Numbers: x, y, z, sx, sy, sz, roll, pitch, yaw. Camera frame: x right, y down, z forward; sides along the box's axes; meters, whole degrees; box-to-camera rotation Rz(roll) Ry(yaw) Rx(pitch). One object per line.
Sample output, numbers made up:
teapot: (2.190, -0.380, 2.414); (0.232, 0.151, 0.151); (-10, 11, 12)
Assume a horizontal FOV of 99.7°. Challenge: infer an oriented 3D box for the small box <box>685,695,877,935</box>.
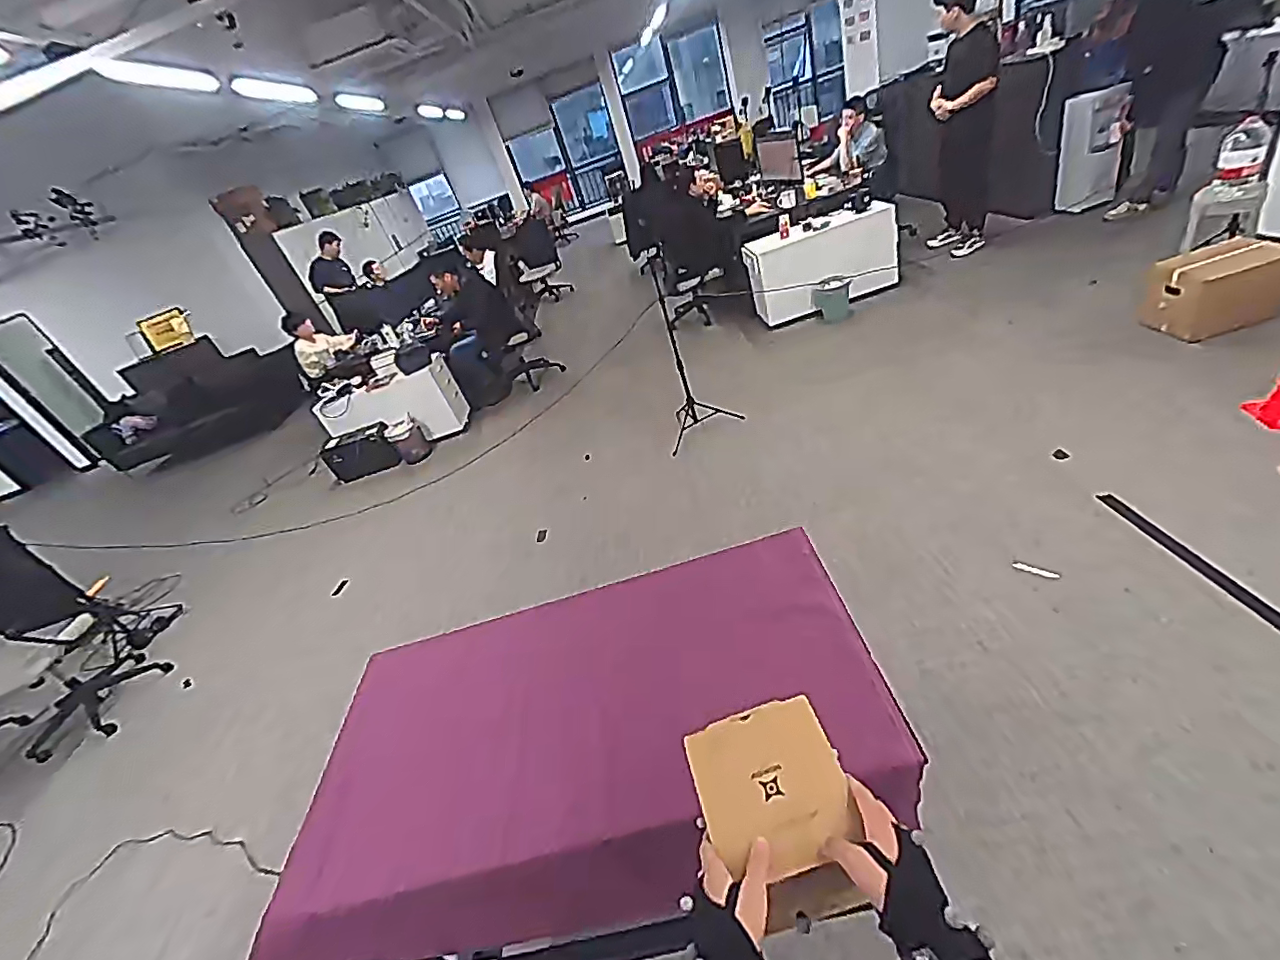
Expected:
small box: (0.168, 0.405, 0.661); (0.168, 0.176, 0.179); (-20, 35, 1)
